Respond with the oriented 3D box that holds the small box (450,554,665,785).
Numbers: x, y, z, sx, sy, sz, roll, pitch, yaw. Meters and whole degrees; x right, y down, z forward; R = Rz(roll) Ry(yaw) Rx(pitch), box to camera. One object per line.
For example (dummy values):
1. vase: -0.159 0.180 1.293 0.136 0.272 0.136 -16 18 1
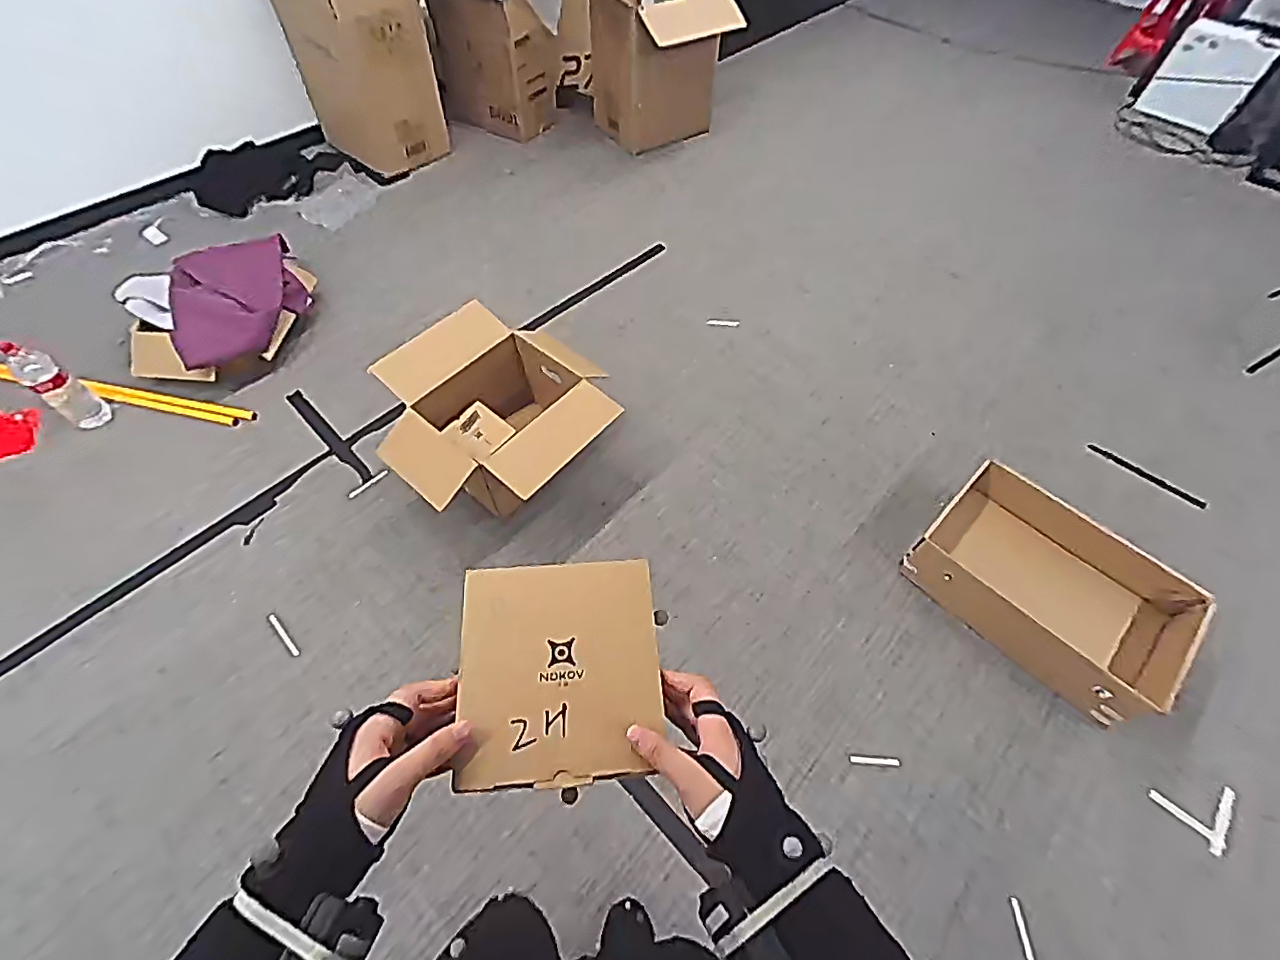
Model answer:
1. small box: -0.074 0.186 0.521 0.168 0.176 0.179 -3 61 -6
